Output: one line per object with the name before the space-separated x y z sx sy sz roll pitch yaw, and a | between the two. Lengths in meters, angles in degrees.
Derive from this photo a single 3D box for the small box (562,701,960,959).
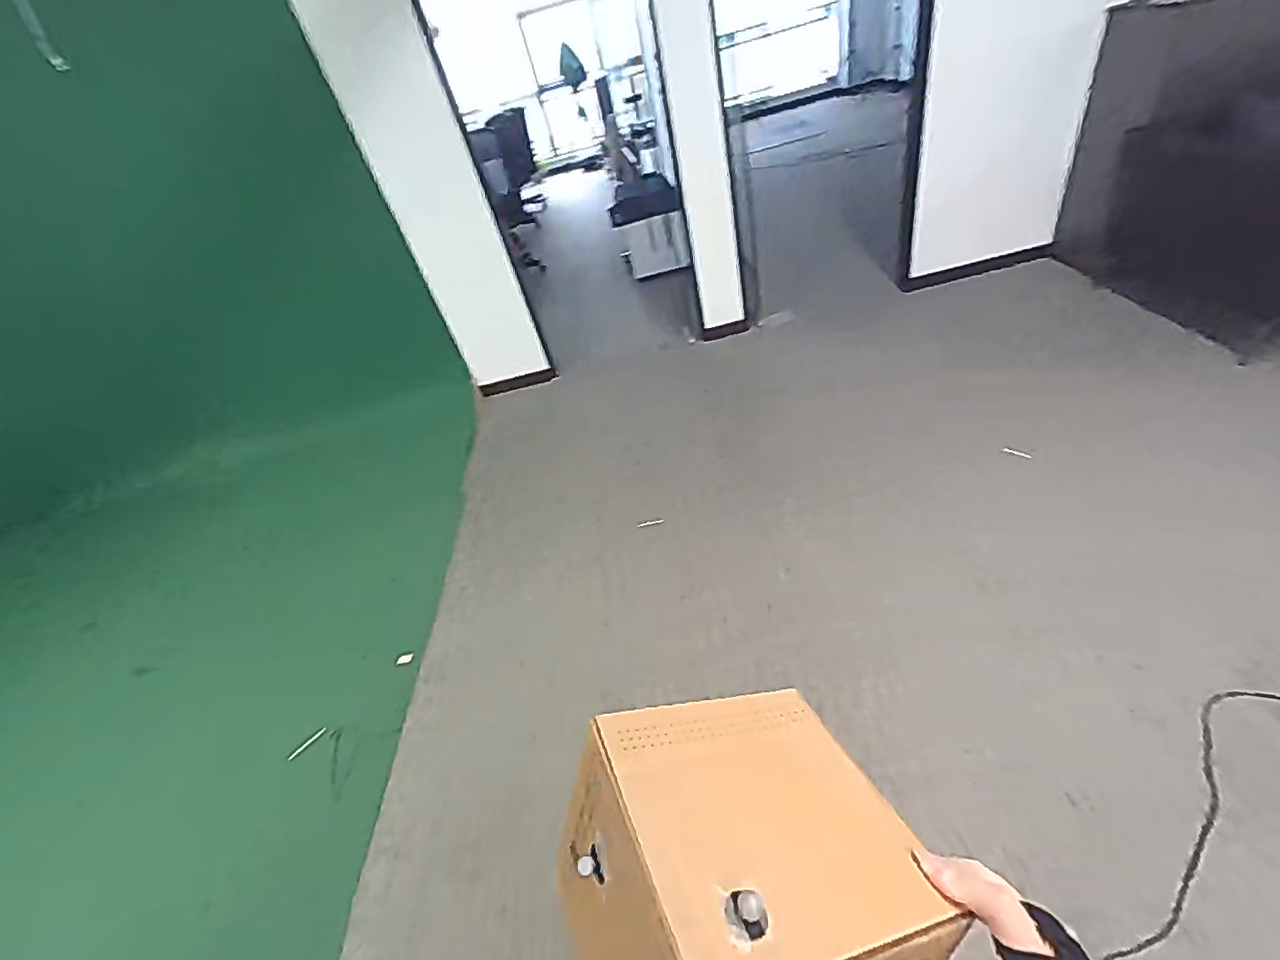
small box | 0.059 0.274 0.367 0.179 0.168 0.176 4 22 -22
